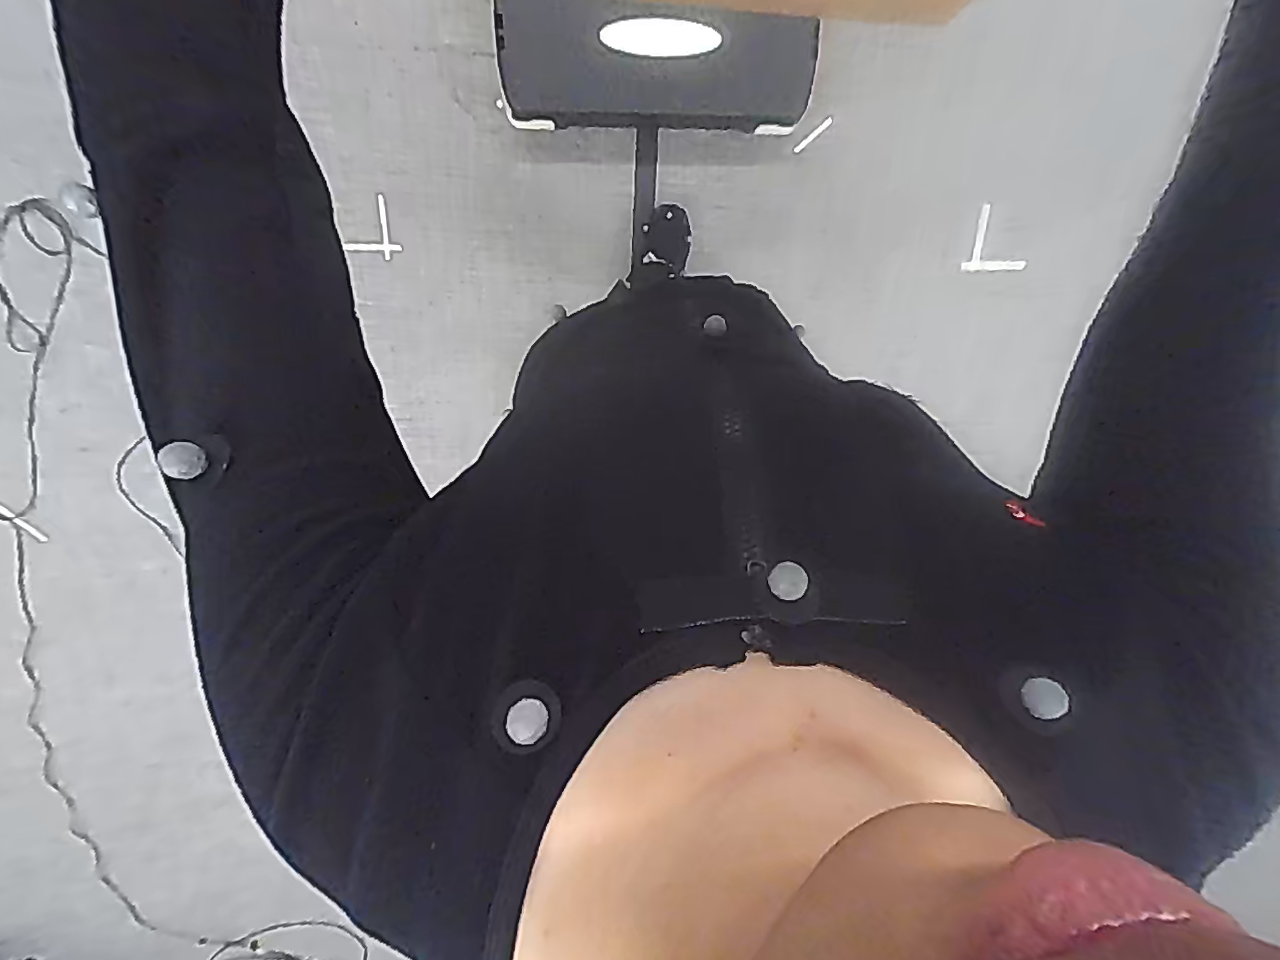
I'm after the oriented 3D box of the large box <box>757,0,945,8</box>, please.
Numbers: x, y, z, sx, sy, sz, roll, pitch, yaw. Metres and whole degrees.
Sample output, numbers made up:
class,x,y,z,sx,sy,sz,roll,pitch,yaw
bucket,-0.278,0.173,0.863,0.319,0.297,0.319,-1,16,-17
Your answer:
class,x,y,z,sx,sy,sz,roll,pitch,yaw
large box,0.084,-0.519,0.287,0.408,0.320,0.320,0,109,-4
